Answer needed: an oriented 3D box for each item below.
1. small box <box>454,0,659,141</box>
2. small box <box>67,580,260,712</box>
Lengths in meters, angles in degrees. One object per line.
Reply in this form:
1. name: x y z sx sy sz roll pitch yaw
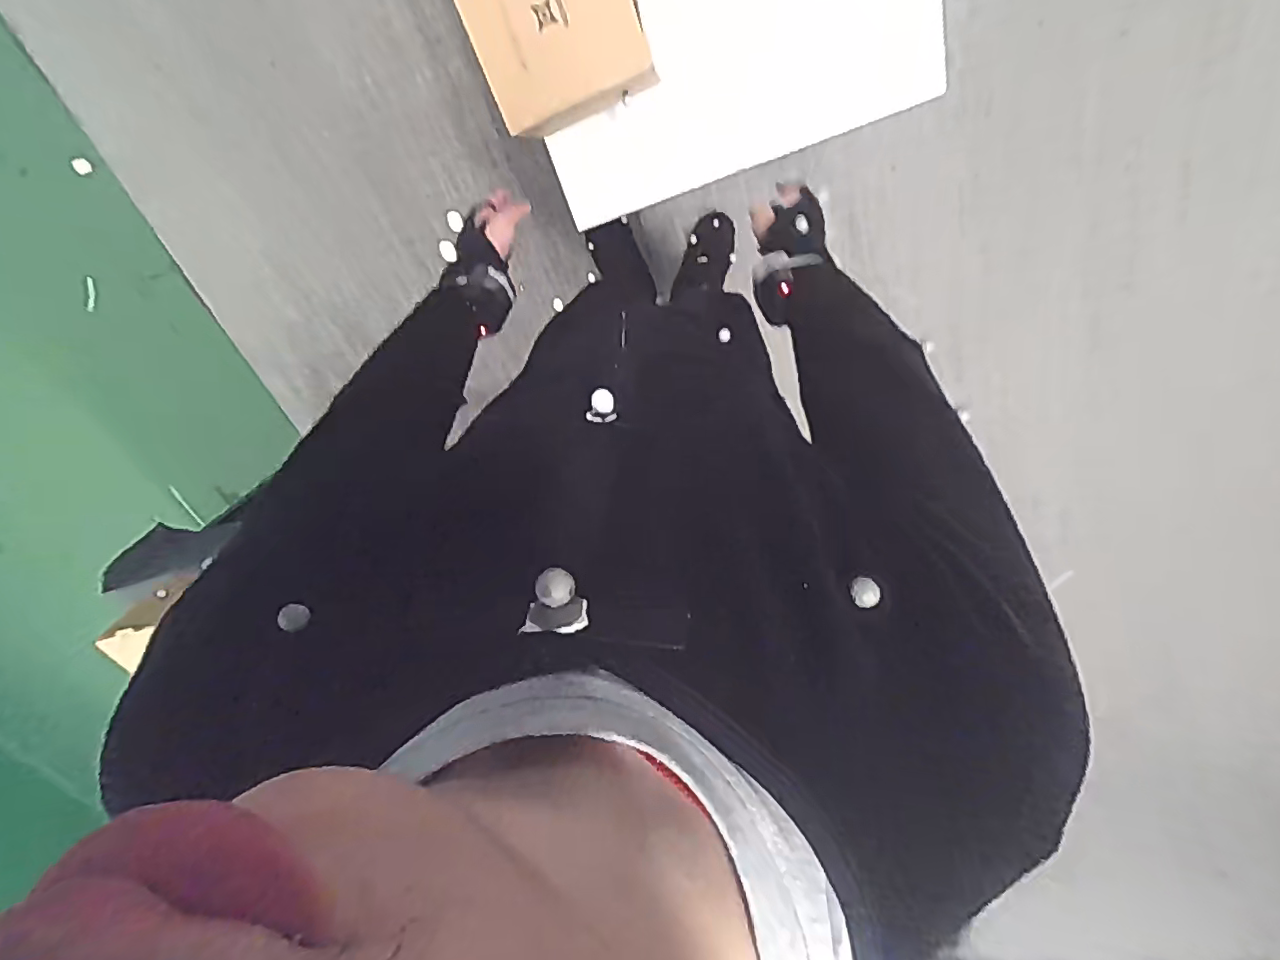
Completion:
1. small box: -0.084 -0.506 0.609 0.179 0.176 0.168 -15 117 14
2. small box: -0.892 0.309 1.032 0.168 0.176 0.179 -13 119 14
